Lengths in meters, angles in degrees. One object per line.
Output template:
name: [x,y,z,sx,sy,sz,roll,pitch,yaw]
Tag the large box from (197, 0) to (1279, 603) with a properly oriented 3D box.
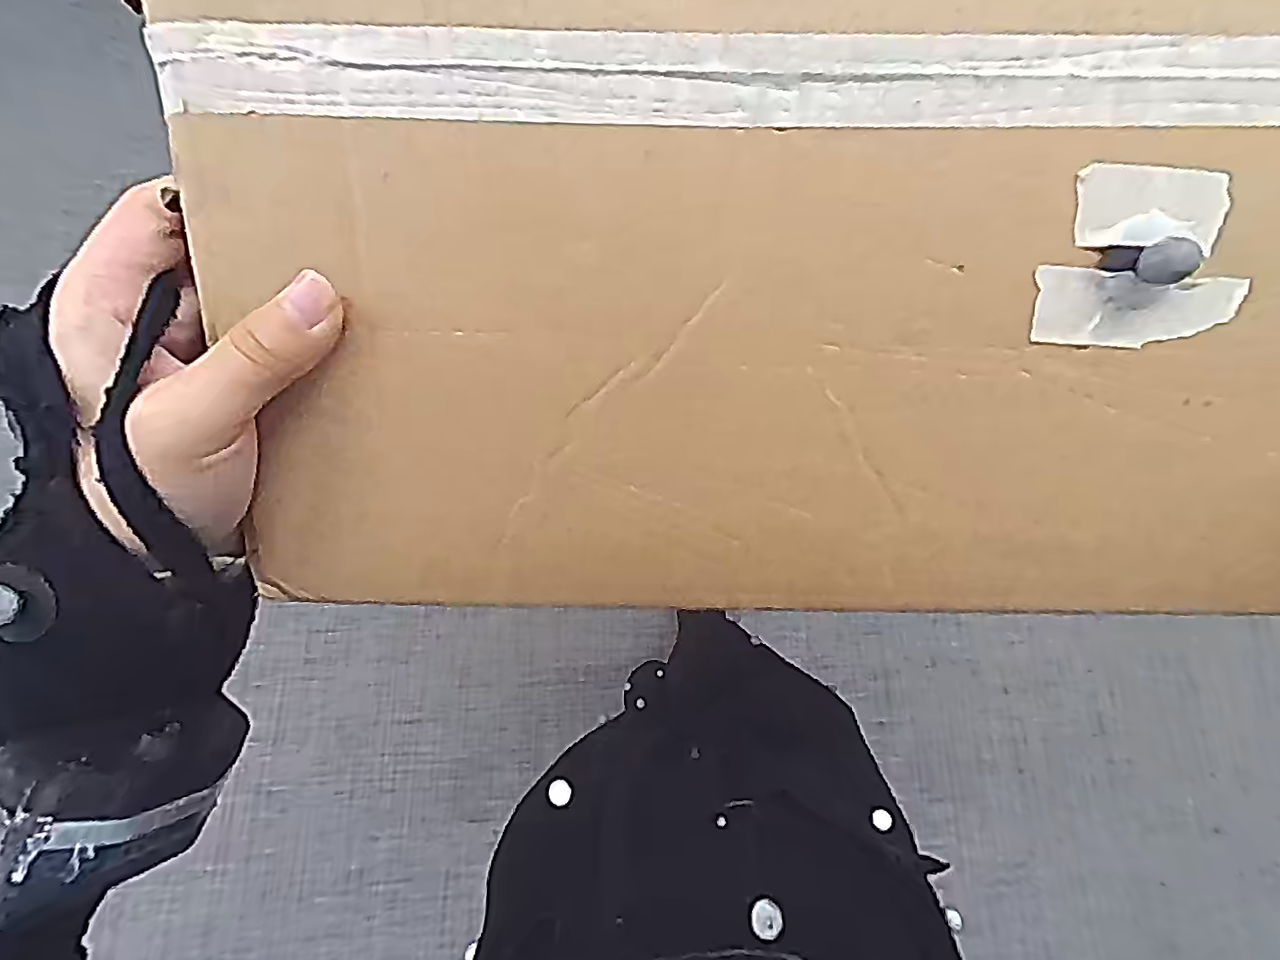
large box: [0.070,-0.143,0.304,0.408,0.320,0.320,0,105,-1]
